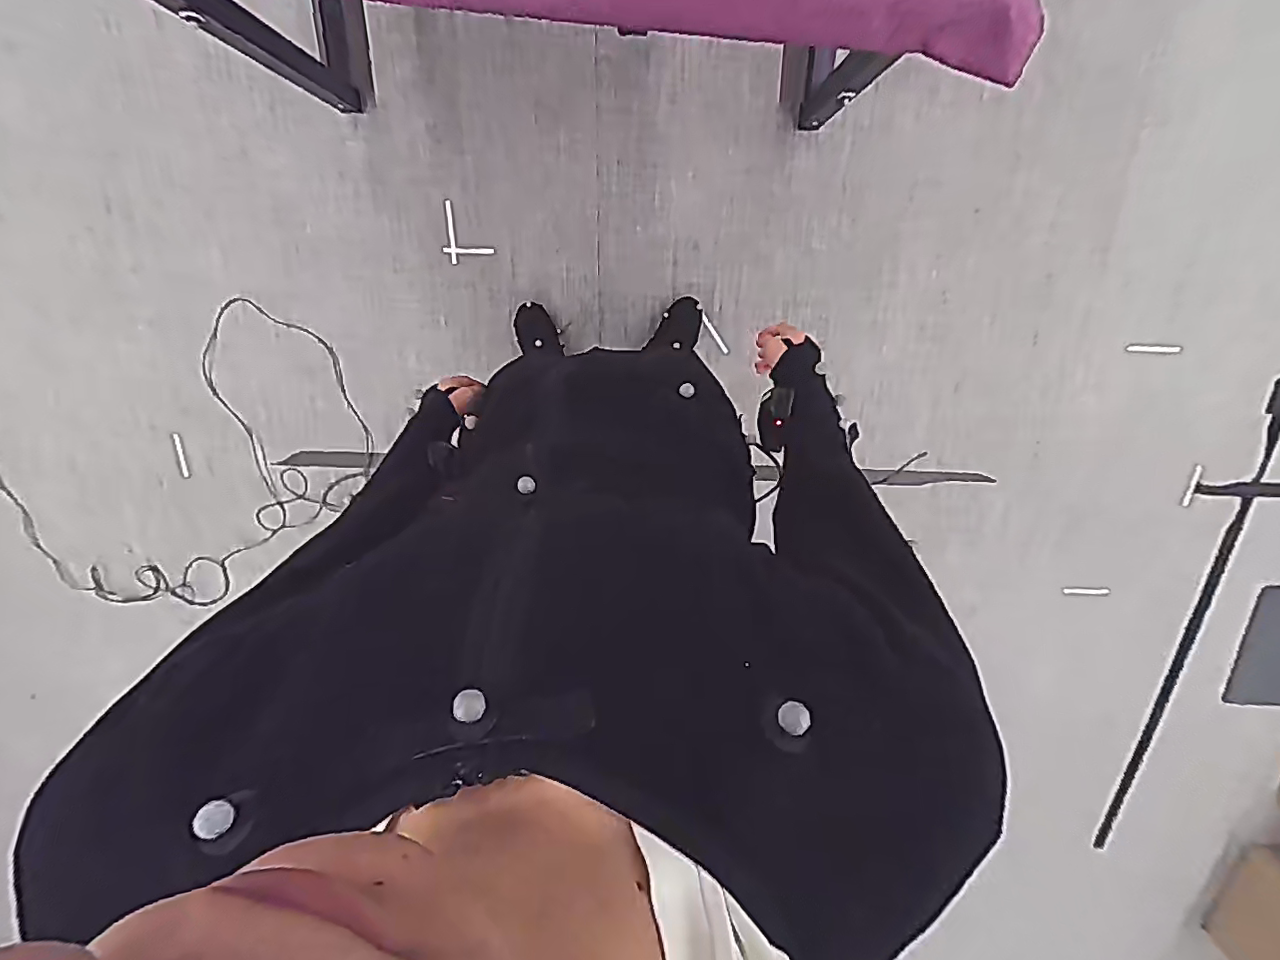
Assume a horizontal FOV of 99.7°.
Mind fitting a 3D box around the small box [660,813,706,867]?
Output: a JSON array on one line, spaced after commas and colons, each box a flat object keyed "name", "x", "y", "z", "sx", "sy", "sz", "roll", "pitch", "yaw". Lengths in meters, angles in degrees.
[{"name": "small box", "x": 0.167, "y": 1.443, "z": 2.119, "sx": 0.168, "sy": 0.176, "sz": 0.179, "roll": -3, "pitch": 110, "yaw": 0}]

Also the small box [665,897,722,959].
[{"name": "small box", "x": 0.175, "y": 1.537, "z": 1.804, "sx": 0.168, "sy": 0.176, "sz": 0.179, "roll": -1, "pitch": 109, "yaw": -2}]

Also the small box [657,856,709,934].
[{"name": "small box", "x": 0.156, "y": 1.503, "z": 1.966, "sx": 0.179, "sy": 0.176, "sz": 0.168, "roll": -4, "pitch": 110, "yaw": 0}]
